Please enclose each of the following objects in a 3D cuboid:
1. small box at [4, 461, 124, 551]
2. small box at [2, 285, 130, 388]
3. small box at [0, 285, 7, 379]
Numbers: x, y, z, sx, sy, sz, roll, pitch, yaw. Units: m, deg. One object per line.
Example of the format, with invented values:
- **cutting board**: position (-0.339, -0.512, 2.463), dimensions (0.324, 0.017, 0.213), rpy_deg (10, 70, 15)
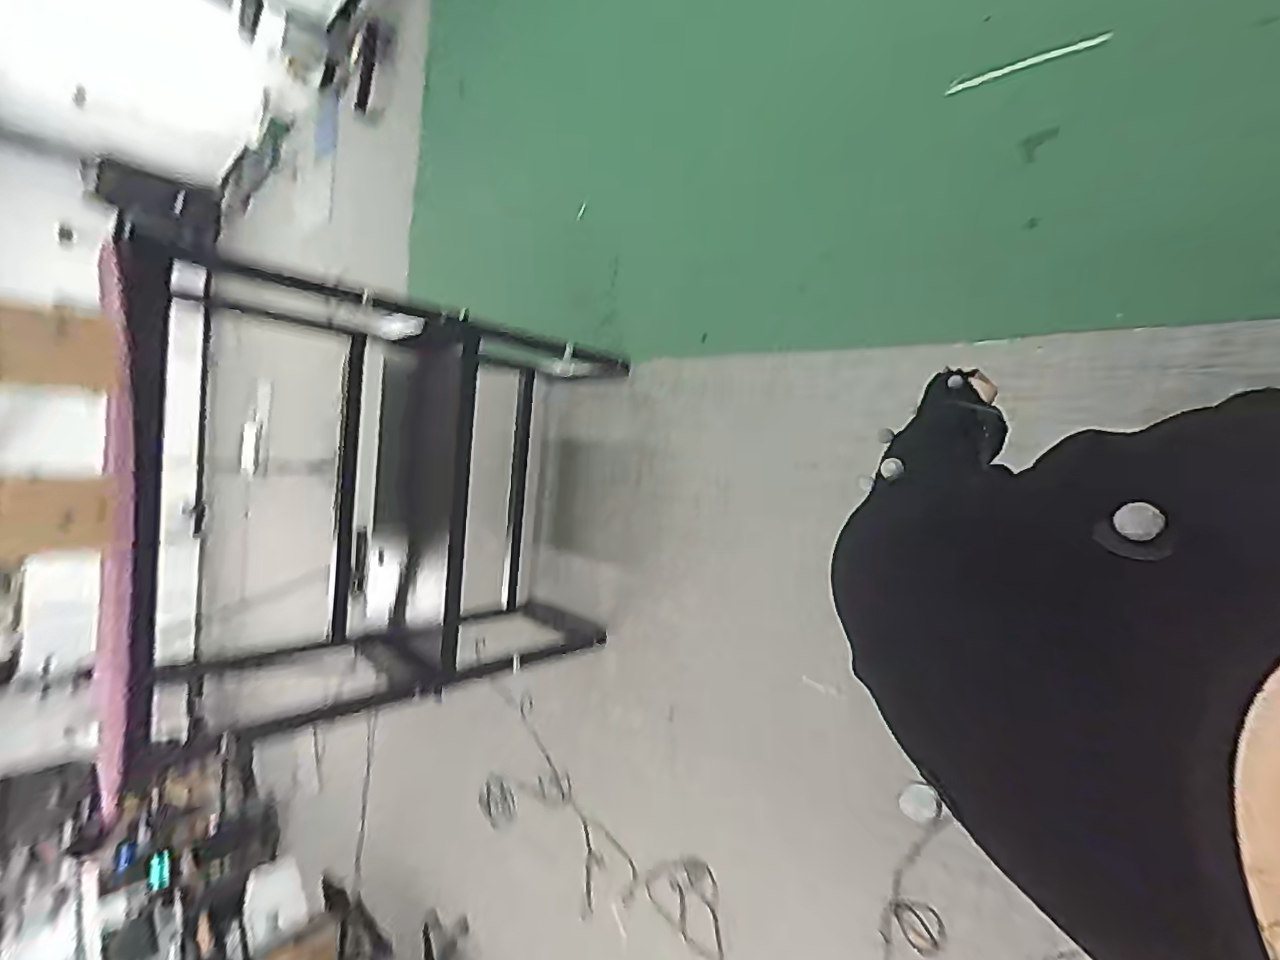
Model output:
- **small box**: position (-1.237, 0.050, 1.167), dimensions (0.179, 0.176, 0.168), rpy_deg (9, 95, 44)
- **small box**: position (-1.177, -0.291, 1.118), dimensions (0.168, 0.176, 0.179), rpy_deg (16, 102, 45)
- **small box**: position (-1.298, -0.290, 1.010), dimensions (0.168, 0.176, 0.179), rpy_deg (20, 104, 45)
